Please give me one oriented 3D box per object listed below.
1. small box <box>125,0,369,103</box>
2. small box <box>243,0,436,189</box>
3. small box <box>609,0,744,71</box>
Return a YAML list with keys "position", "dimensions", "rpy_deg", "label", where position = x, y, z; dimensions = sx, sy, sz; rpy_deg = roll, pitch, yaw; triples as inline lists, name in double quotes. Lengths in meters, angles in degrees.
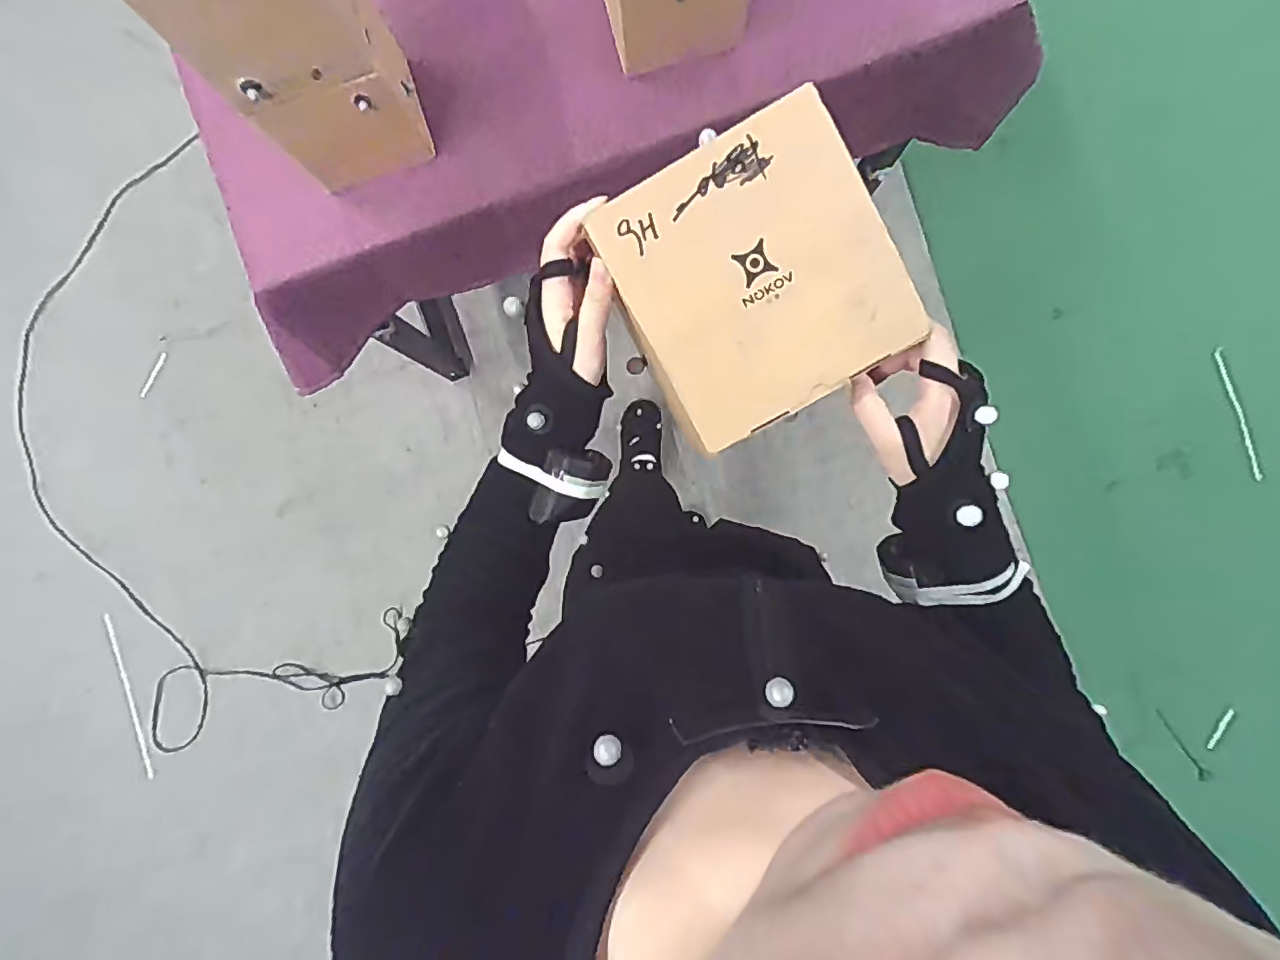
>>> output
- position: [-0.420, -0.544, 0.570]
  dimensions: [0.168, 0.176, 0.179]
  rpy_deg: [-19, 86, 1]
  label: "small box"
- position: [-0.410, -0.534, 0.734]
  dimensions: [0.179, 0.176, 0.168]
  rpy_deg: [-18, 87, 1]
  label: "small box"
- position: [0.040, -0.693, 0.716]
  dimensions: [0.179, 0.176, 0.168]
  rpy_deg: [-14, 88, 2]
  label: "small box"
